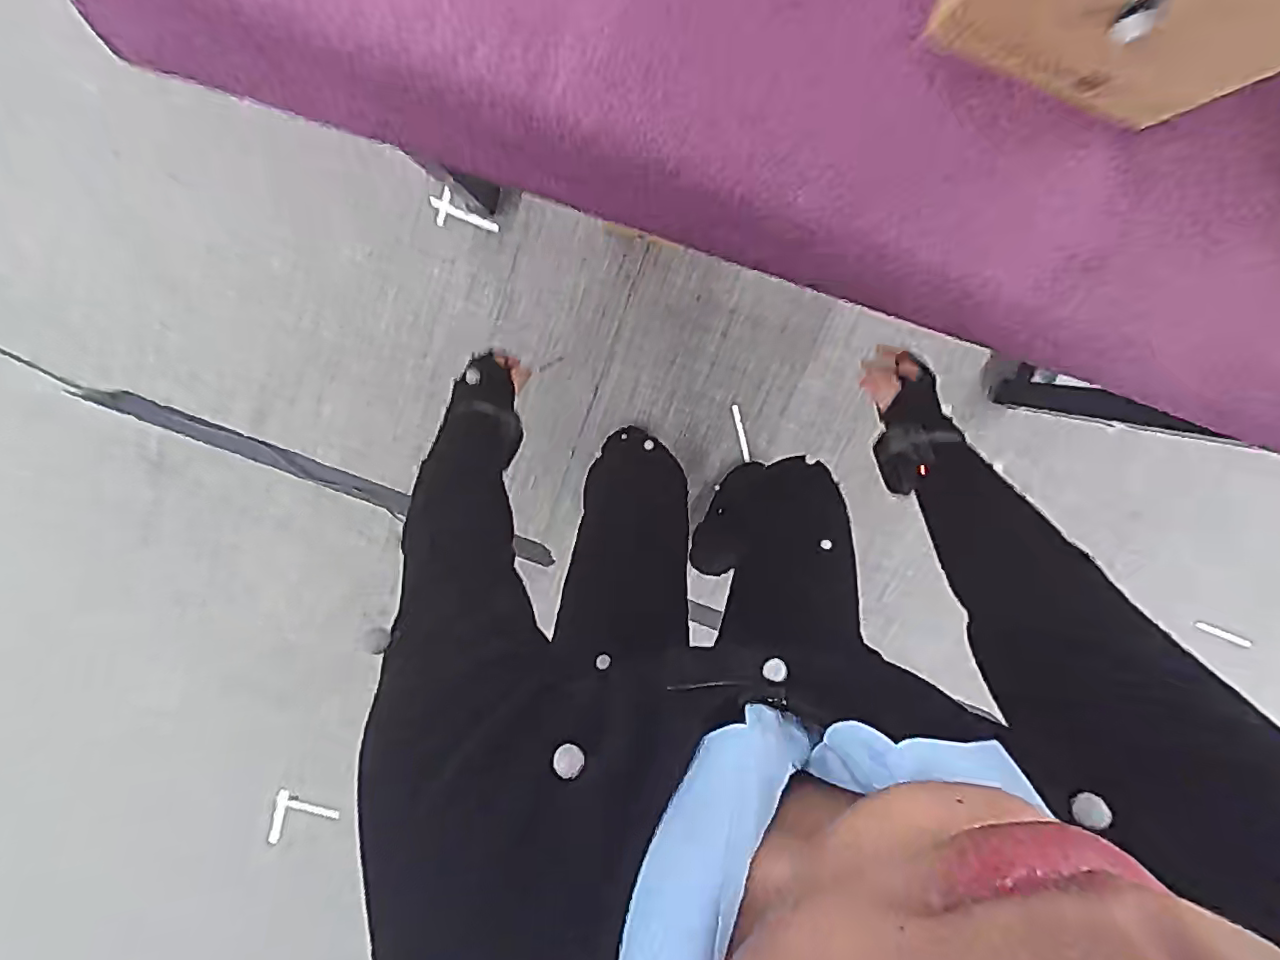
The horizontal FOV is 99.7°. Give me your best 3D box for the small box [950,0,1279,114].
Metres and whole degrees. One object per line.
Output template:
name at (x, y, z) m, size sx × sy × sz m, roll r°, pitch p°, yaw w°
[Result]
small box at (0.291, -0.325, 0.265) m, size 0.168 × 0.176 × 0.179 m, roll 17°, pitch 101°, yaw -7°
